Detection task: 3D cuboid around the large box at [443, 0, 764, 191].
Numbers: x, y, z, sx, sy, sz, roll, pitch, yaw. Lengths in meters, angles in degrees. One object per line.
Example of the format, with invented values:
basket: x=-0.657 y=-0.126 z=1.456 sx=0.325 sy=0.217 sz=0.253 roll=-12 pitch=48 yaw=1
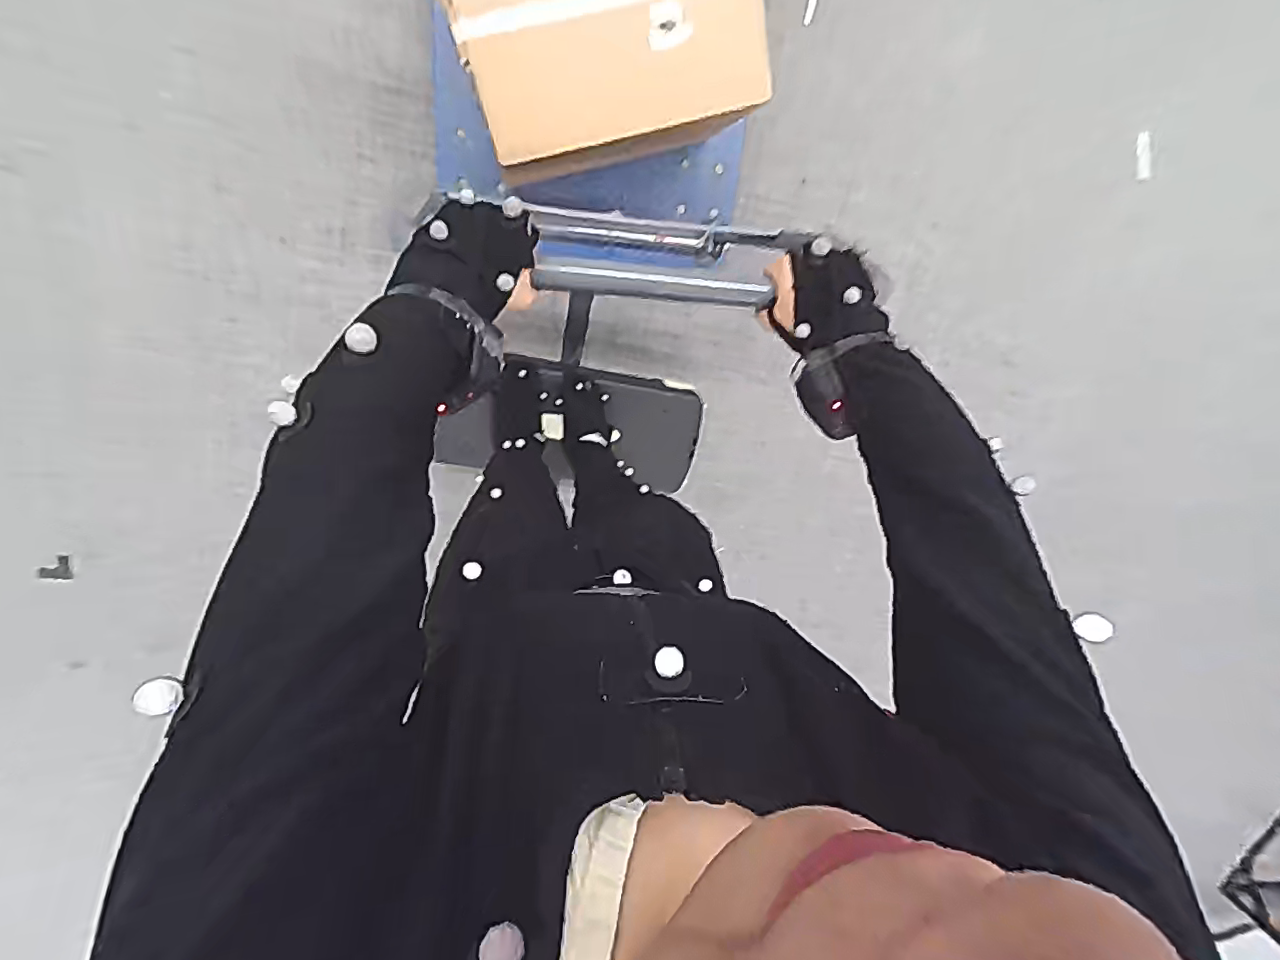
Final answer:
large box: x=-0.073 y=-0.683 z=0.842 sx=0.408 sy=0.320 sz=0.320 roll=-18 pitch=115 yaw=-6
